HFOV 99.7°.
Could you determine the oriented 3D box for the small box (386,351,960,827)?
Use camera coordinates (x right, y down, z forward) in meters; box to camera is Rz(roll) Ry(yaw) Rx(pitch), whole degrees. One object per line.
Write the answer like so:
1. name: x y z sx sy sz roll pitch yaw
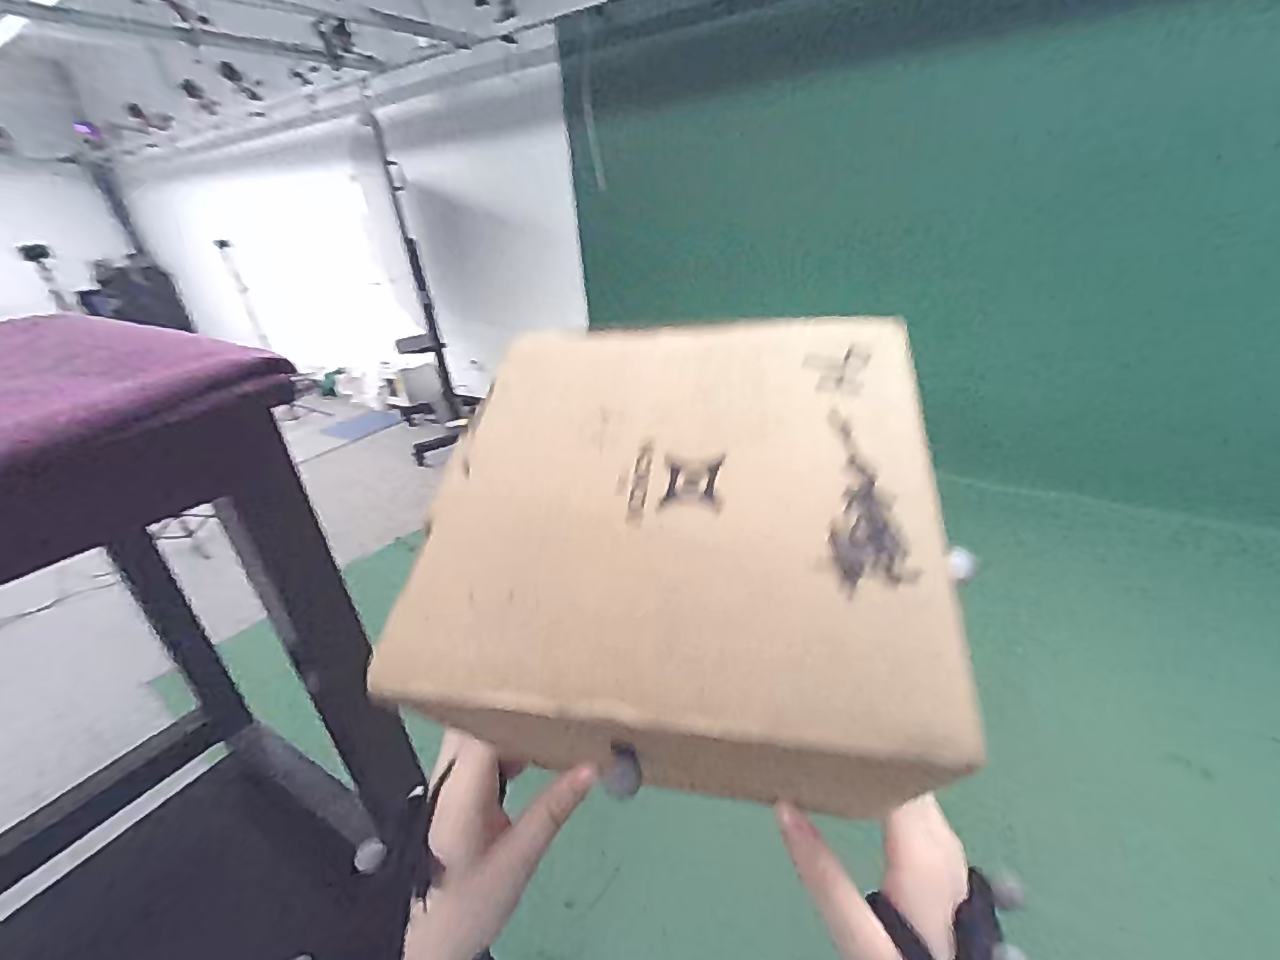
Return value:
1. small box: 0.026 0.059 0.264 0.179 0.176 0.168 1 55 14
